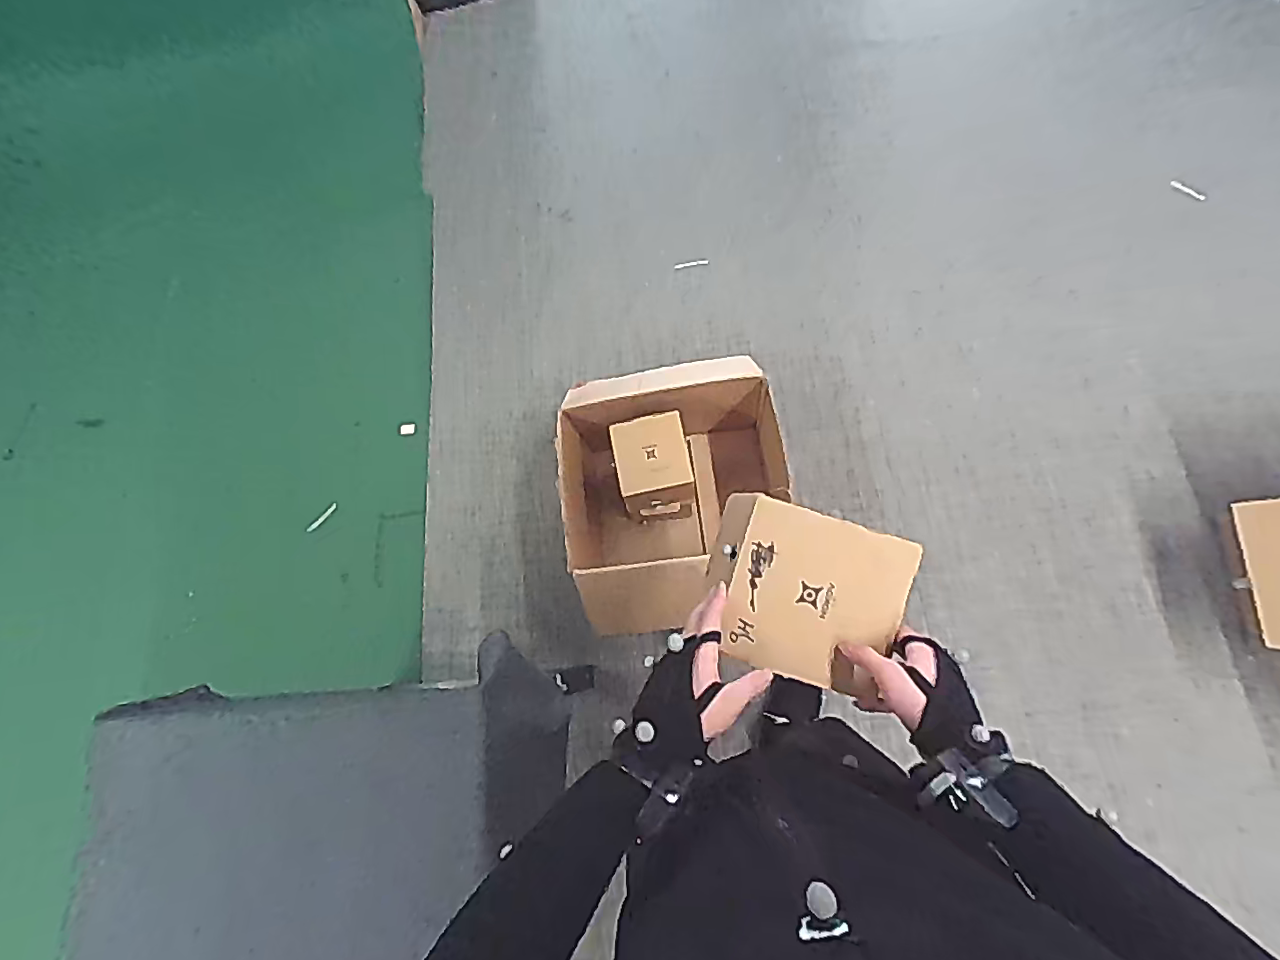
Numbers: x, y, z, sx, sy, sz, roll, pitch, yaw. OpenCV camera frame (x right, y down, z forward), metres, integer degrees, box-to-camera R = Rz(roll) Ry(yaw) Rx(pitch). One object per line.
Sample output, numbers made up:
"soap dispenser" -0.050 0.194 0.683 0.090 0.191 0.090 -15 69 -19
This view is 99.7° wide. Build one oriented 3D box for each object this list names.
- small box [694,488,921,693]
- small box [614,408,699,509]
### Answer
"small box" 0.174 0.112 0.616 0.179 0.176 0.168 18 88 0
"small box" 0.040 -0.044 1.278 0.168 0.176 0.179 -12 74 3
